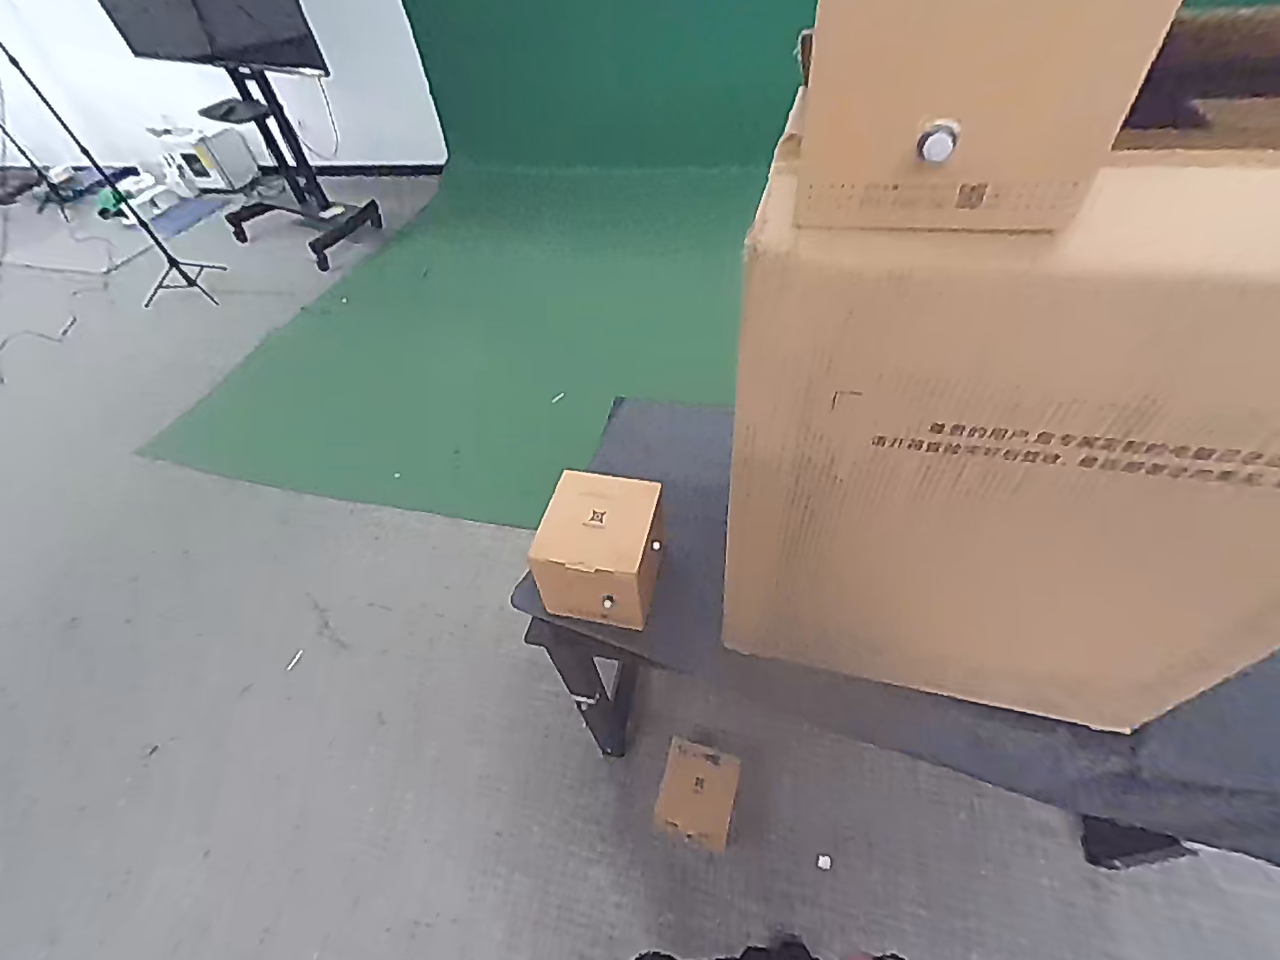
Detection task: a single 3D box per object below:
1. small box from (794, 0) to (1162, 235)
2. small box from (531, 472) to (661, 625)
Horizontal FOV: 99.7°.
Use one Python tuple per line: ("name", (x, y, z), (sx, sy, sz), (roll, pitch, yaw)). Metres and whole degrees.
("small box", (0.198, -0.283, 0.354), (0.168, 0.176, 0.179), (8, 51, 15))
("small box", (-0.059, 0.114, 0.884), (0.168, 0.176, 0.179), (8, 48, 10))
